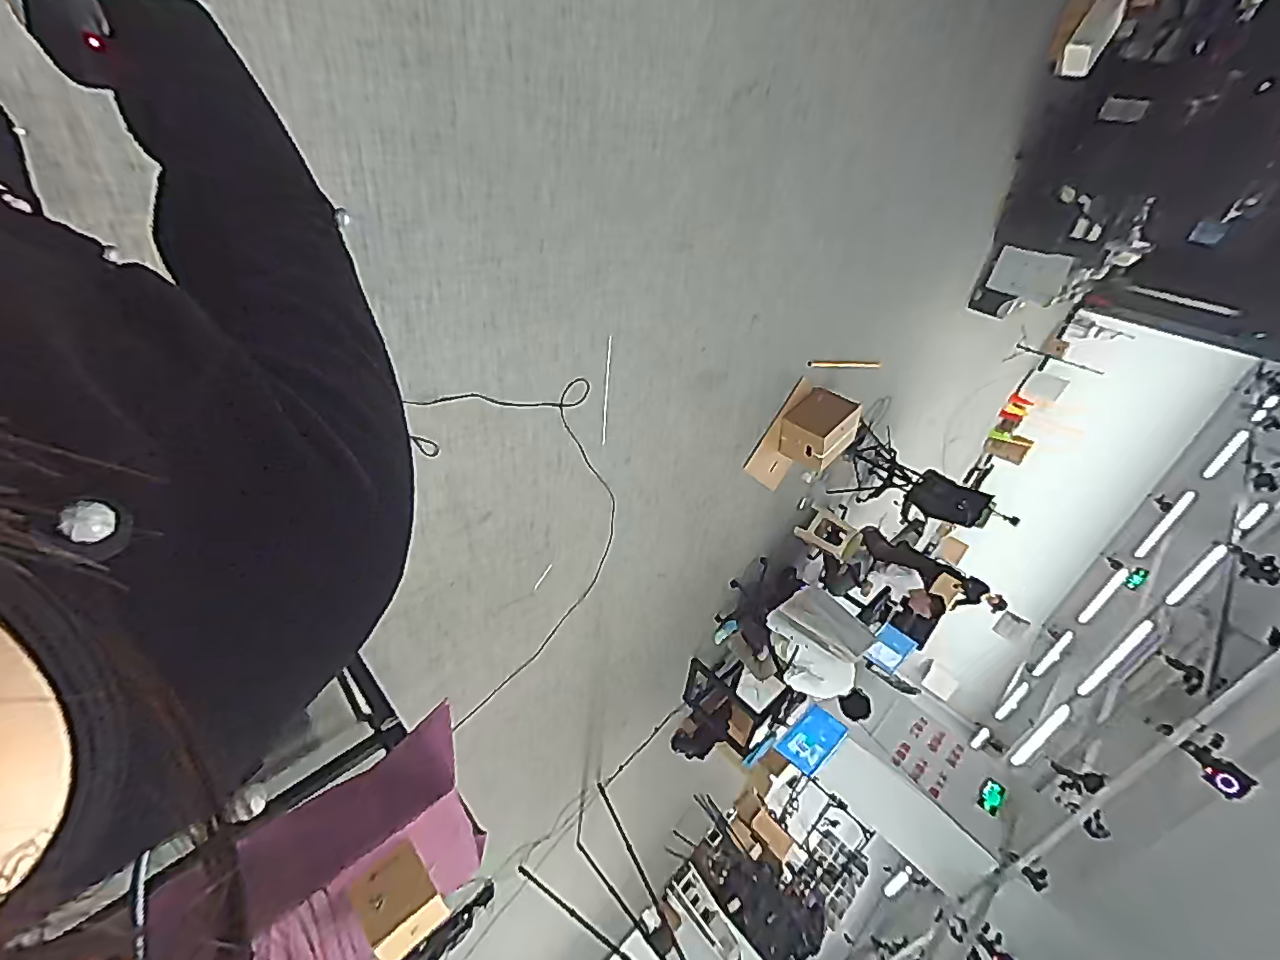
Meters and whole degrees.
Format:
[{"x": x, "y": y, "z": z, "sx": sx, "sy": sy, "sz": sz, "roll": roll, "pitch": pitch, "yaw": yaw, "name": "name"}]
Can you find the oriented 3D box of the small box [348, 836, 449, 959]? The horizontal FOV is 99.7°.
[{"x": -0.620, "y": 1.063, "z": 1.389, "sx": 0.168, "sy": 0.176, "sz": 0.179, "roll": -28, "pitch": 139, "yaw": -34, "name": "small box"}]
